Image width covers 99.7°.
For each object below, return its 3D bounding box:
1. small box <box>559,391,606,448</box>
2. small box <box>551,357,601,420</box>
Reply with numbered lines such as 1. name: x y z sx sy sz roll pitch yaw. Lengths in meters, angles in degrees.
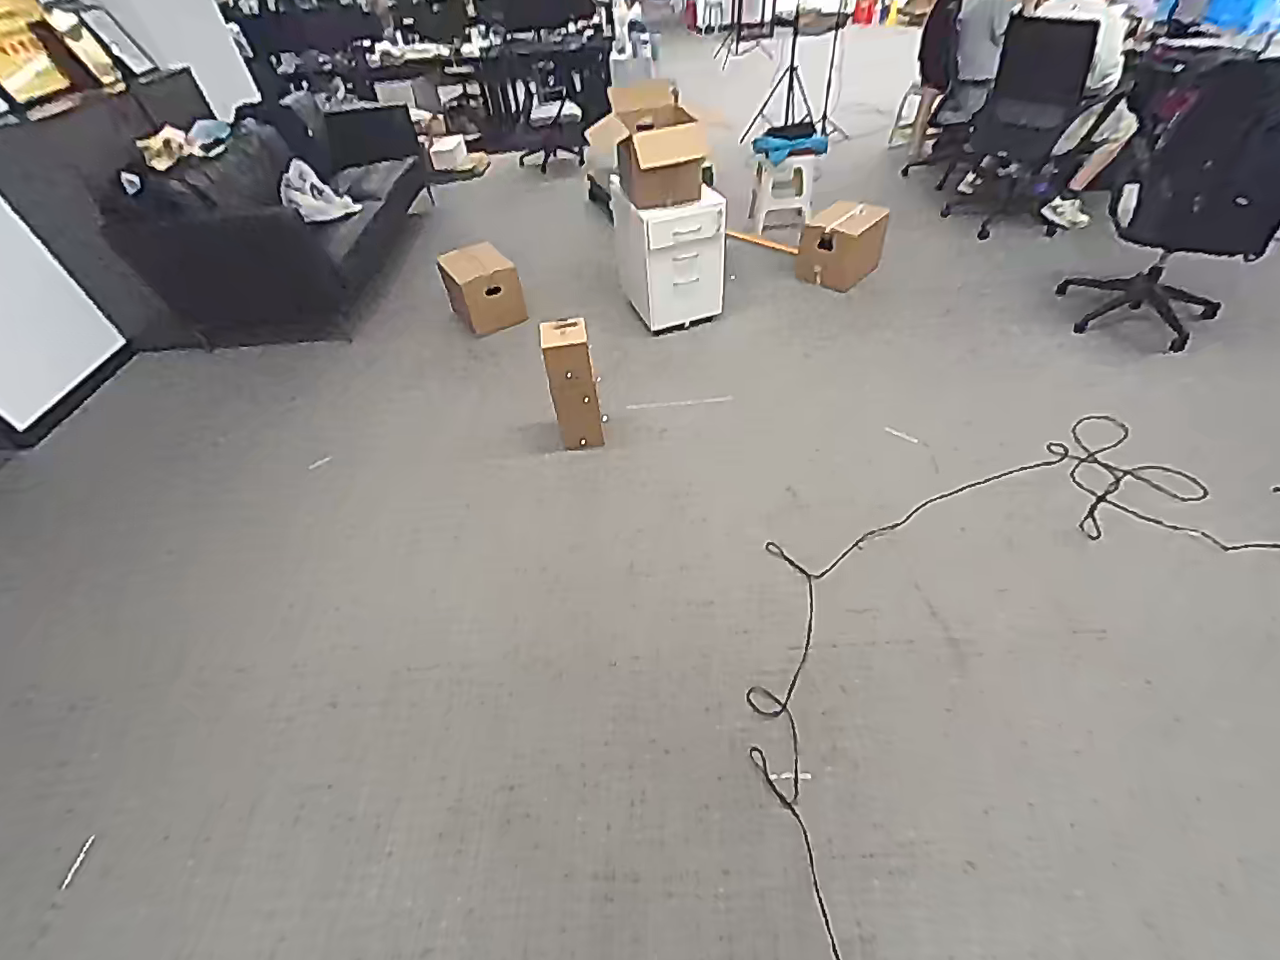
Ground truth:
1. small box: -0.236 -0.253 2.256 0.179 0.176 0.168 -6 45 1
2. small box: -0.249 -0.358 2.131 0.179 0.176 0.168 -9 44 0
